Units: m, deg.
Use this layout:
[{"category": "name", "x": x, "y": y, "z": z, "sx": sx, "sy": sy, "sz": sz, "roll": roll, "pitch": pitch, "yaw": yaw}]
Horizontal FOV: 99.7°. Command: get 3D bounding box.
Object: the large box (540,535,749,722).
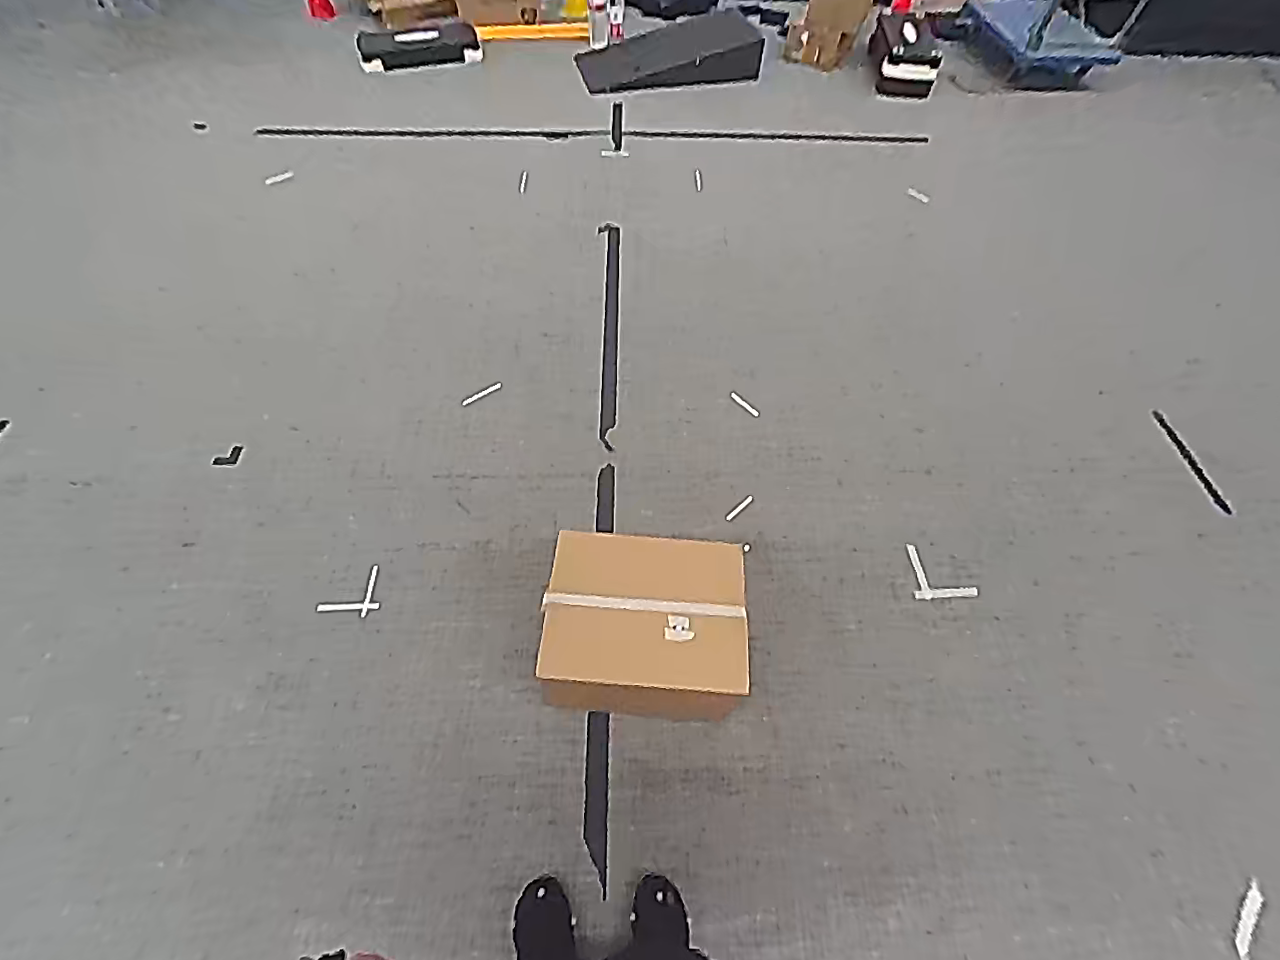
[{"category": "large box", "x": 0.008, "y": 0.343, "z": 1.217, "sx": 0.408, "sy": 0.320, "sz": 0.320, "roll": 5, "pitch": 57, "yaw": 0}]
